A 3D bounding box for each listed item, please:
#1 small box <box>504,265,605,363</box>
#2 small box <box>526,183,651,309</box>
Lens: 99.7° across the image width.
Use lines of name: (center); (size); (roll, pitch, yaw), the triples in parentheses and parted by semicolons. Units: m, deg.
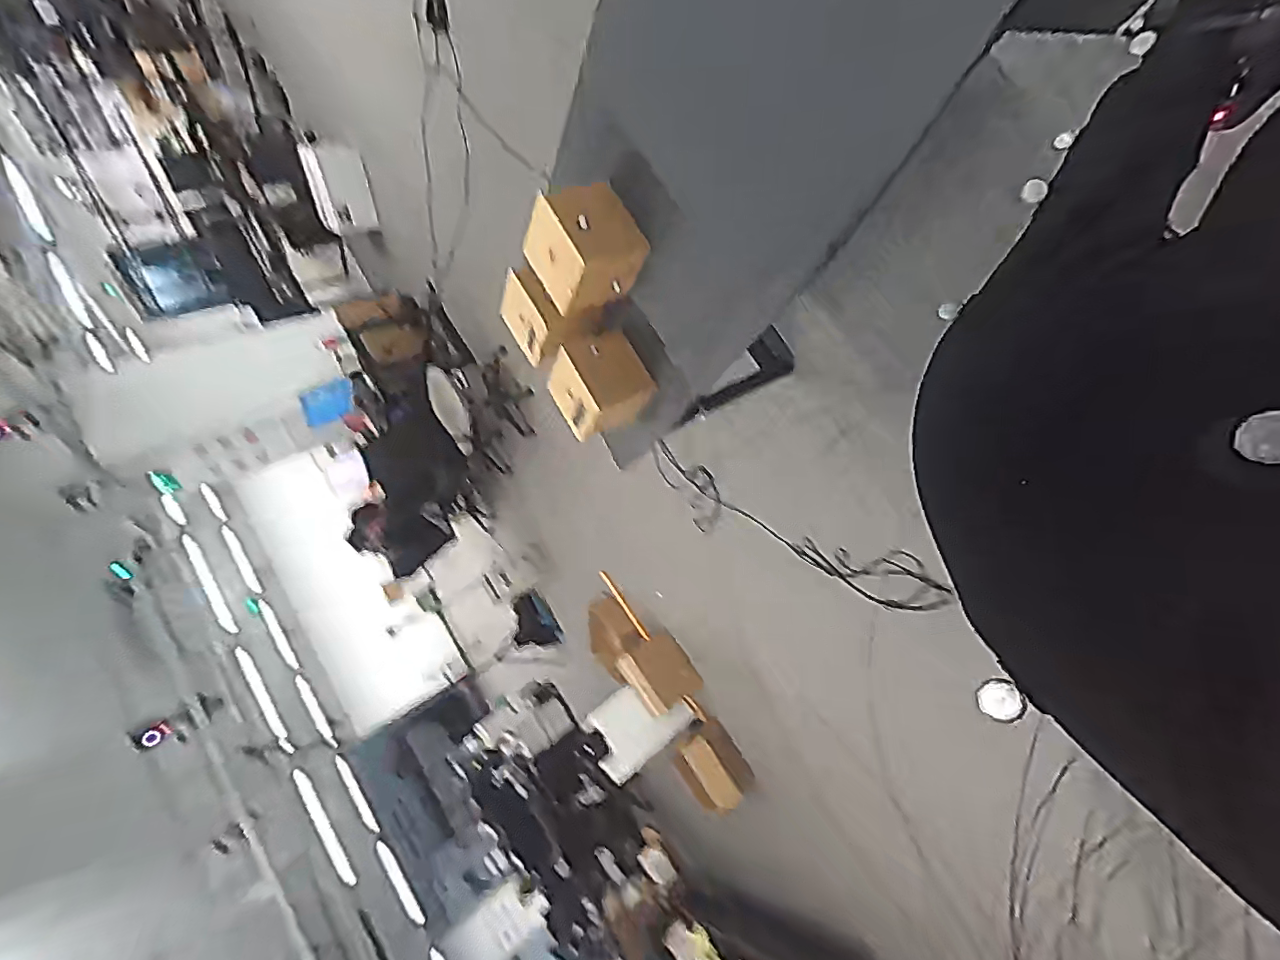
small box: (-0.212, -0.425, 1.339); (0.179, 0.176, 0.168); (58, 149, 9)
small box: (-0.109, -0.493, 1.133); (0.179, 0.176, 0.168); (58, 149, 6)
